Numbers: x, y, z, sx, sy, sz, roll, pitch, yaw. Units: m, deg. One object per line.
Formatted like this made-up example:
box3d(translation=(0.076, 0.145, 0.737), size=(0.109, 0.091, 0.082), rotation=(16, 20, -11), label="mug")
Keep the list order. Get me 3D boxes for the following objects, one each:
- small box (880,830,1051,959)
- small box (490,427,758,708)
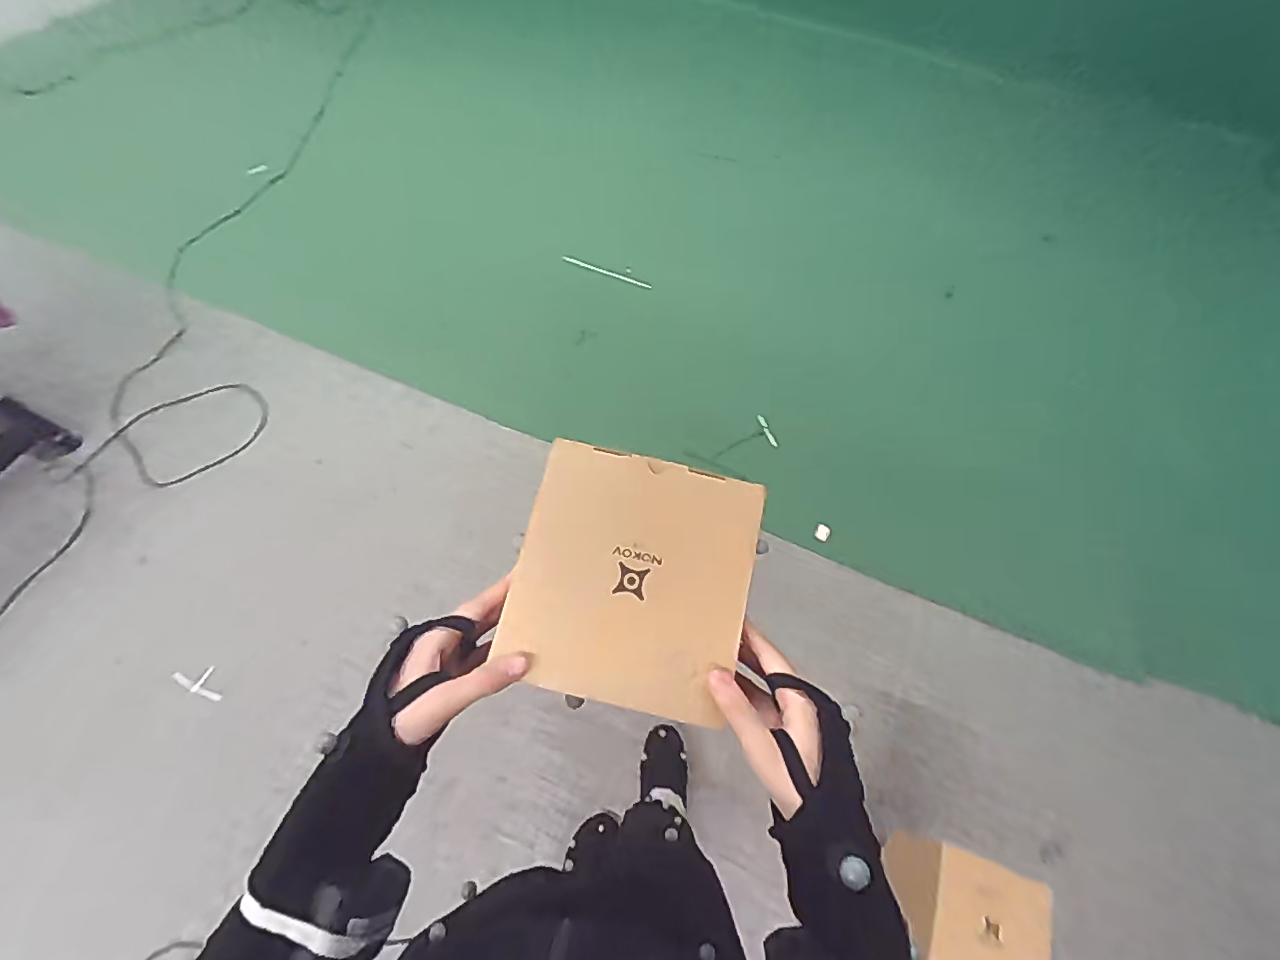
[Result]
box3d(translation=(0.500, 0.683, 0.849), size=(0.168, 0.176, 0.179), rotation=(22, 61, 9), label="small box")
box3d(translation=(-0.009, 0.079, 0.466), size=(0.168, 0.176, 0.179), rotation=(12, 73, 1), label="small box")
